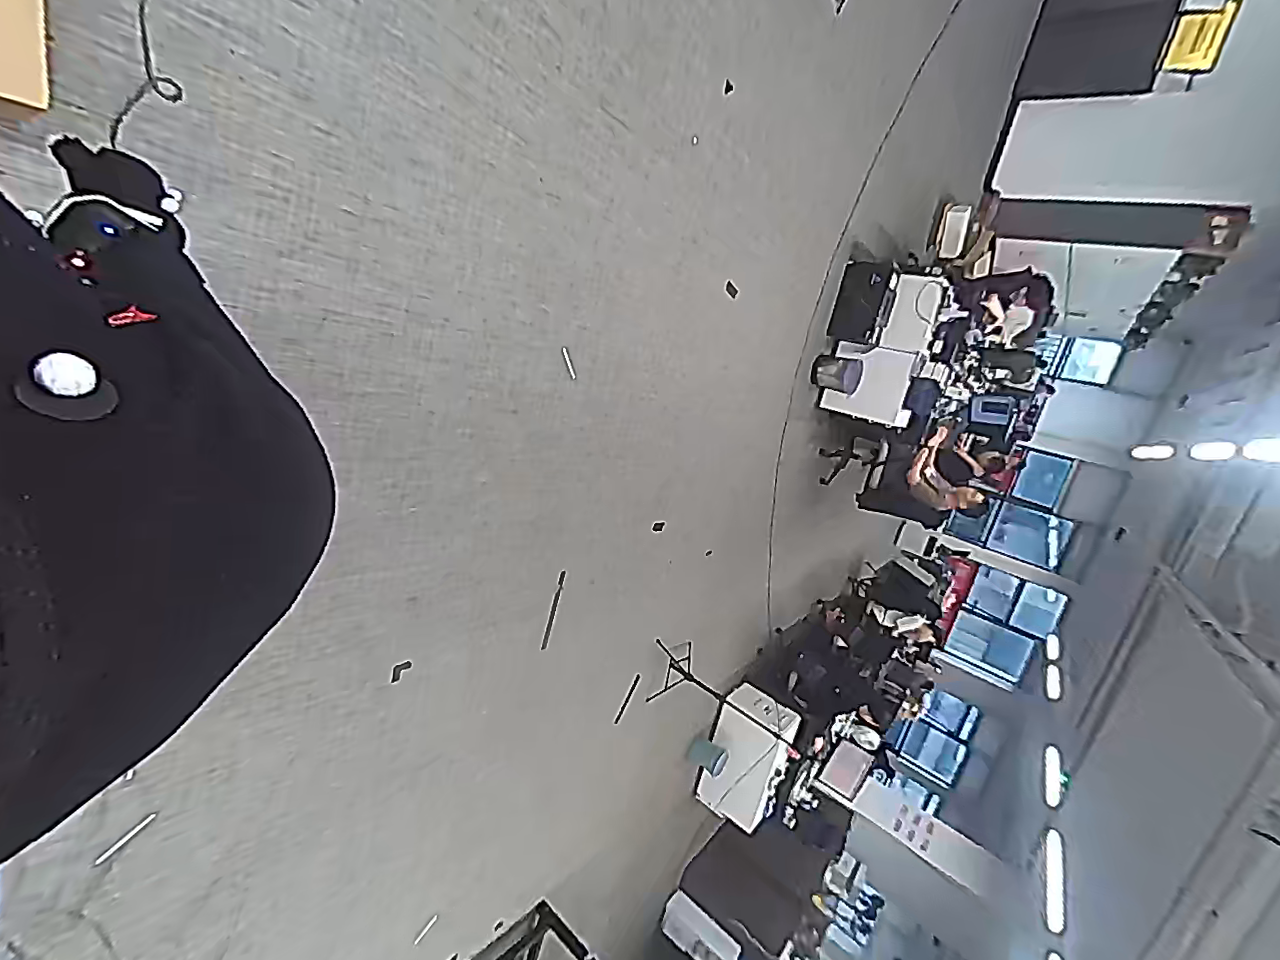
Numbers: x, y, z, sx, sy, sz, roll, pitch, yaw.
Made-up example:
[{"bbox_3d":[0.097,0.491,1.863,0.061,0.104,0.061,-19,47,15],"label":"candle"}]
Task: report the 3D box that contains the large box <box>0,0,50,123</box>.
[{"bbox_3d":[-1.034,-0.683,0.642,0.408,0.320,0.320,-9,116,-52],"label":"large box"}]
